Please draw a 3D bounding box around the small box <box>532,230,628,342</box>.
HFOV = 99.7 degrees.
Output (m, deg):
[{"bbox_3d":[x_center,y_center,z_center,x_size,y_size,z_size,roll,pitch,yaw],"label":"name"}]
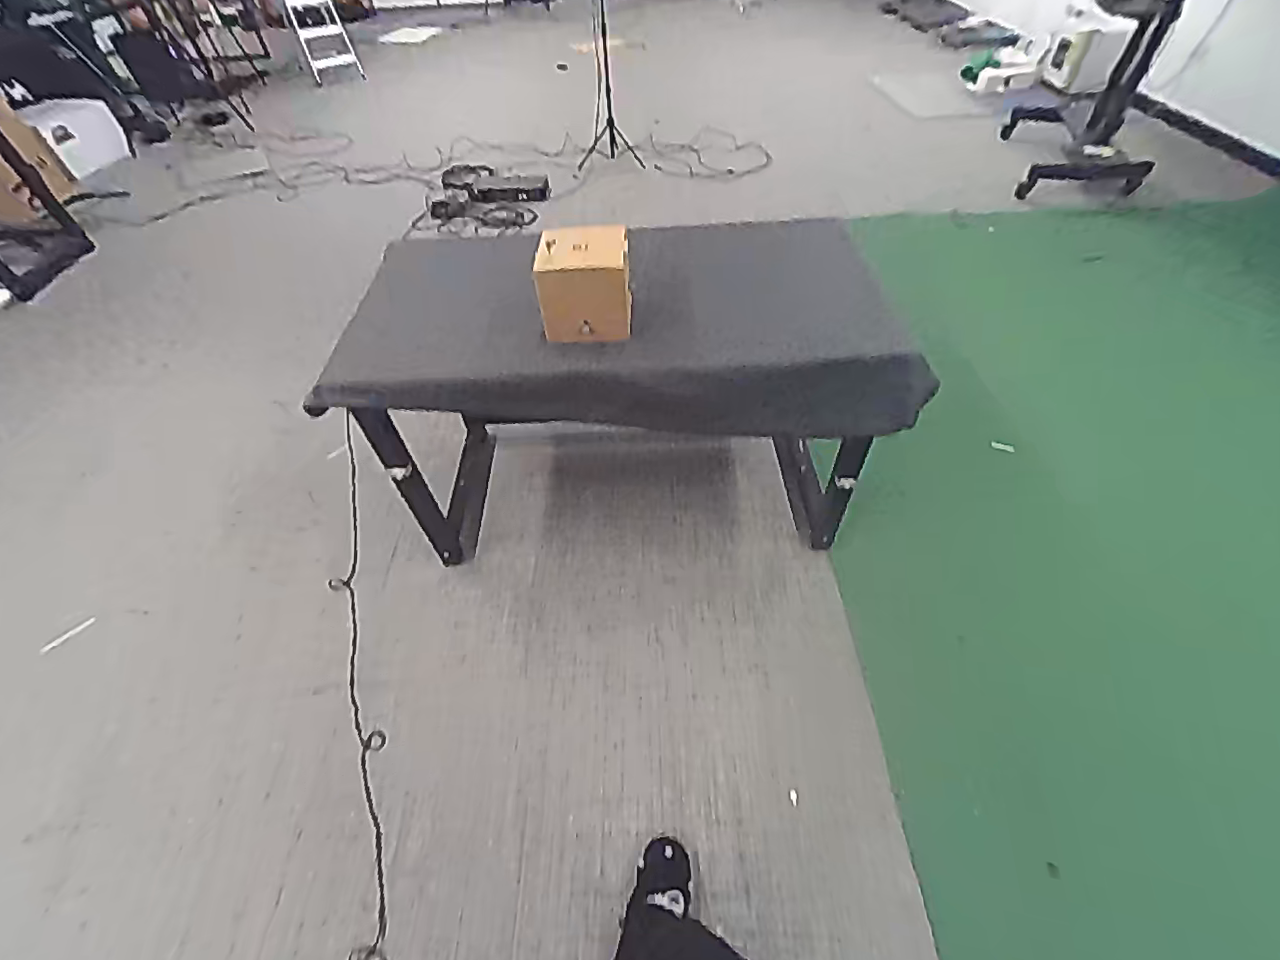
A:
[{"bbox_3d":[-0.115,-0.404,1.135,0.179,0.176,0.168,-1,49,2],"label":"small box"}]
